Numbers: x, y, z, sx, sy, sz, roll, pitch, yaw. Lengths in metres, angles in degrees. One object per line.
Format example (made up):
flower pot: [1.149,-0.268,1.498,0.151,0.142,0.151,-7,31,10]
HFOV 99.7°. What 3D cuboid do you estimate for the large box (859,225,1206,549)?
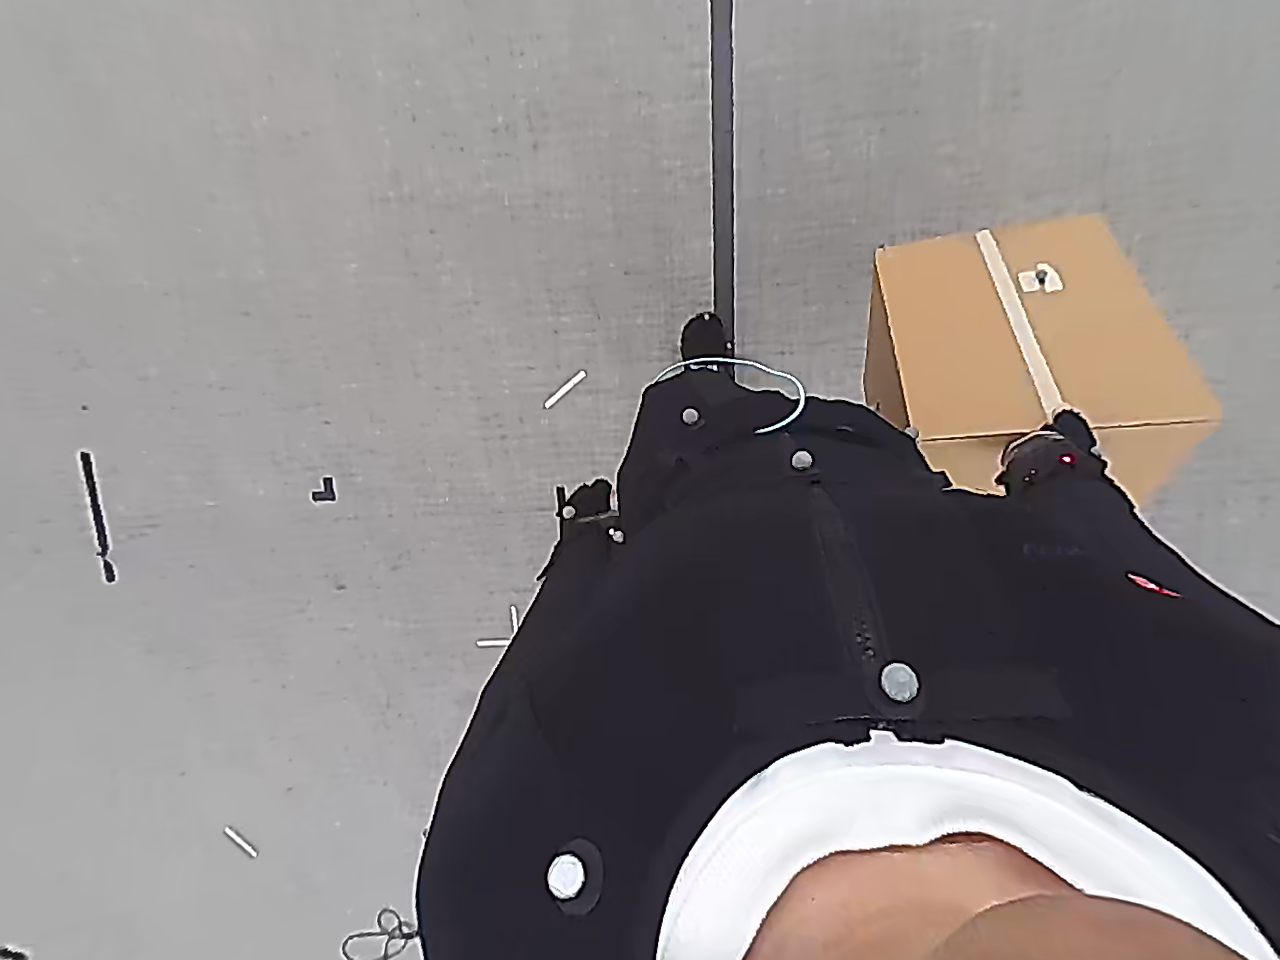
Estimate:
large box: [0.553,-0.138,0.879,0.320,0.408,0.320,-3,144,14]
